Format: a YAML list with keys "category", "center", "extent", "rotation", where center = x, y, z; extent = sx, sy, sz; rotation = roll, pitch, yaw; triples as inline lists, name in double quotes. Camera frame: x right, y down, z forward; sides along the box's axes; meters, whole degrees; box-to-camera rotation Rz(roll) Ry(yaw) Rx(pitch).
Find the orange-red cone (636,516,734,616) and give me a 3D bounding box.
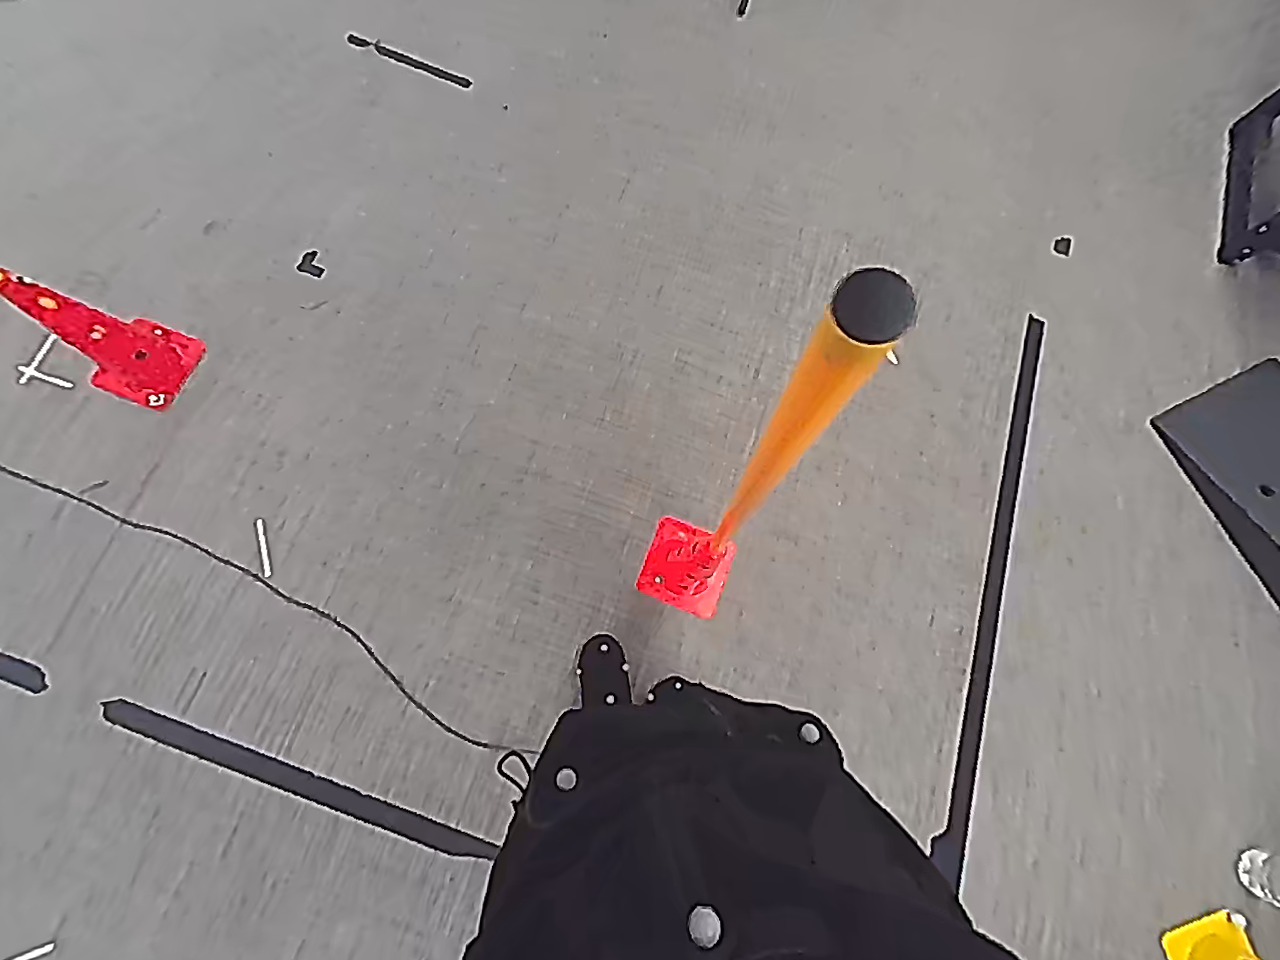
- category: "orange-red cone"
  center: [0.123, 0.164, 1.136]
  extent: [0.199, 0.360, 0.198]
  rotation: [24, 76, 1]
